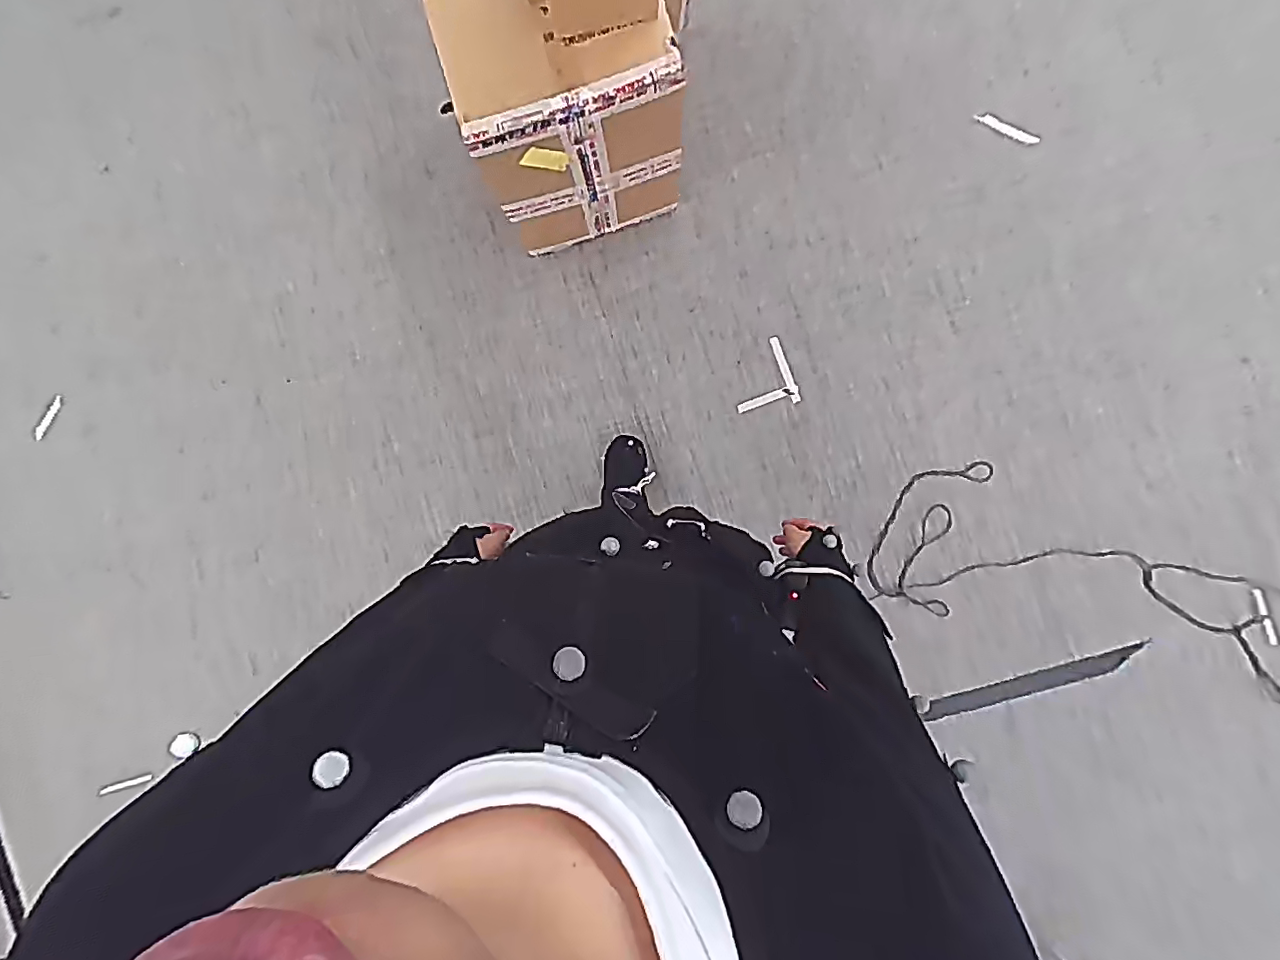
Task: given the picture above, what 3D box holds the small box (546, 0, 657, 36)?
[{"bbox_3d":[-0.073,-0.816,0.806,0.179,0.176,0.168,-12,92,1],"label":"small box"}]
